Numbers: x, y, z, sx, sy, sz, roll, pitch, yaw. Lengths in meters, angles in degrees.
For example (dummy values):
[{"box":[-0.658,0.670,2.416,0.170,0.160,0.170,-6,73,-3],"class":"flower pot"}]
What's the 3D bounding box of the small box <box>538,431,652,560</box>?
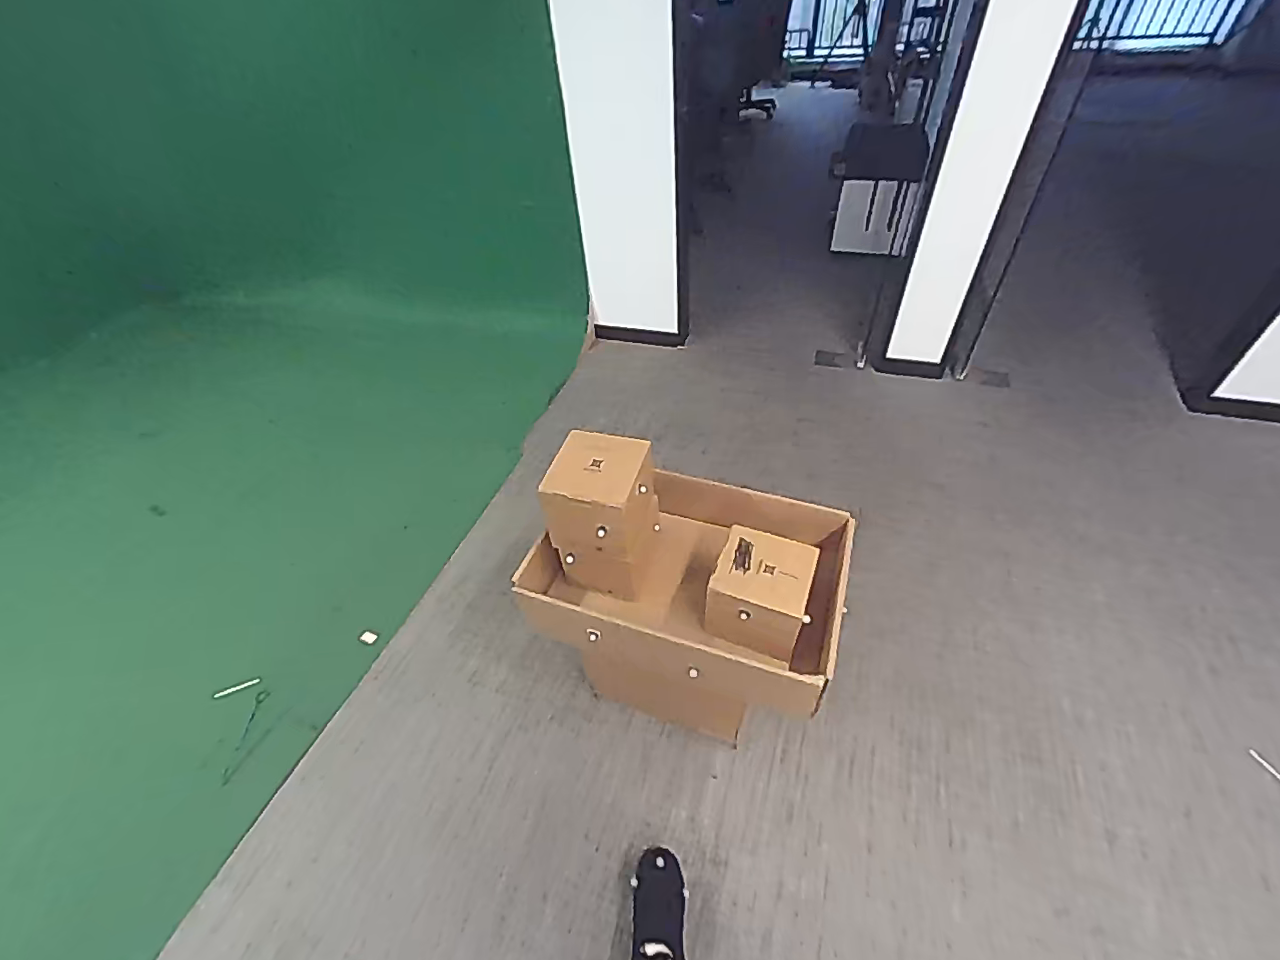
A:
[{"box":[-0.075,0.032,1.053,0.168,0.176,0.179,10,47,14],"class":"small box"}]
